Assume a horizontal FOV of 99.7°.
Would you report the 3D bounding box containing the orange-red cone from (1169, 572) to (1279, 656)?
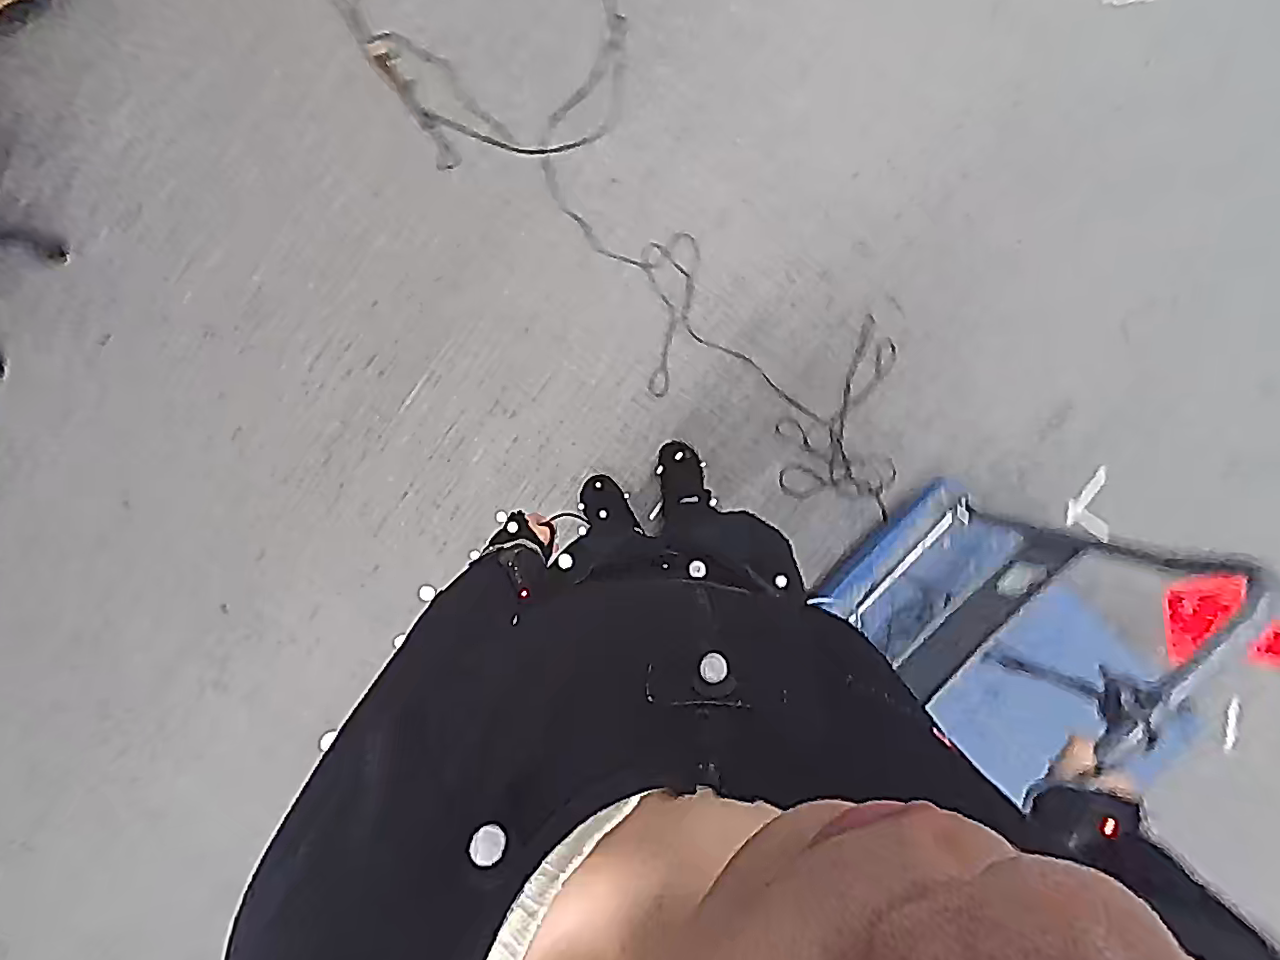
[{"bbox_3d":[1.473,0.361,1.232,0.198,0.360,0.199,-9,97,2],"label":"orange-red cone"}]
